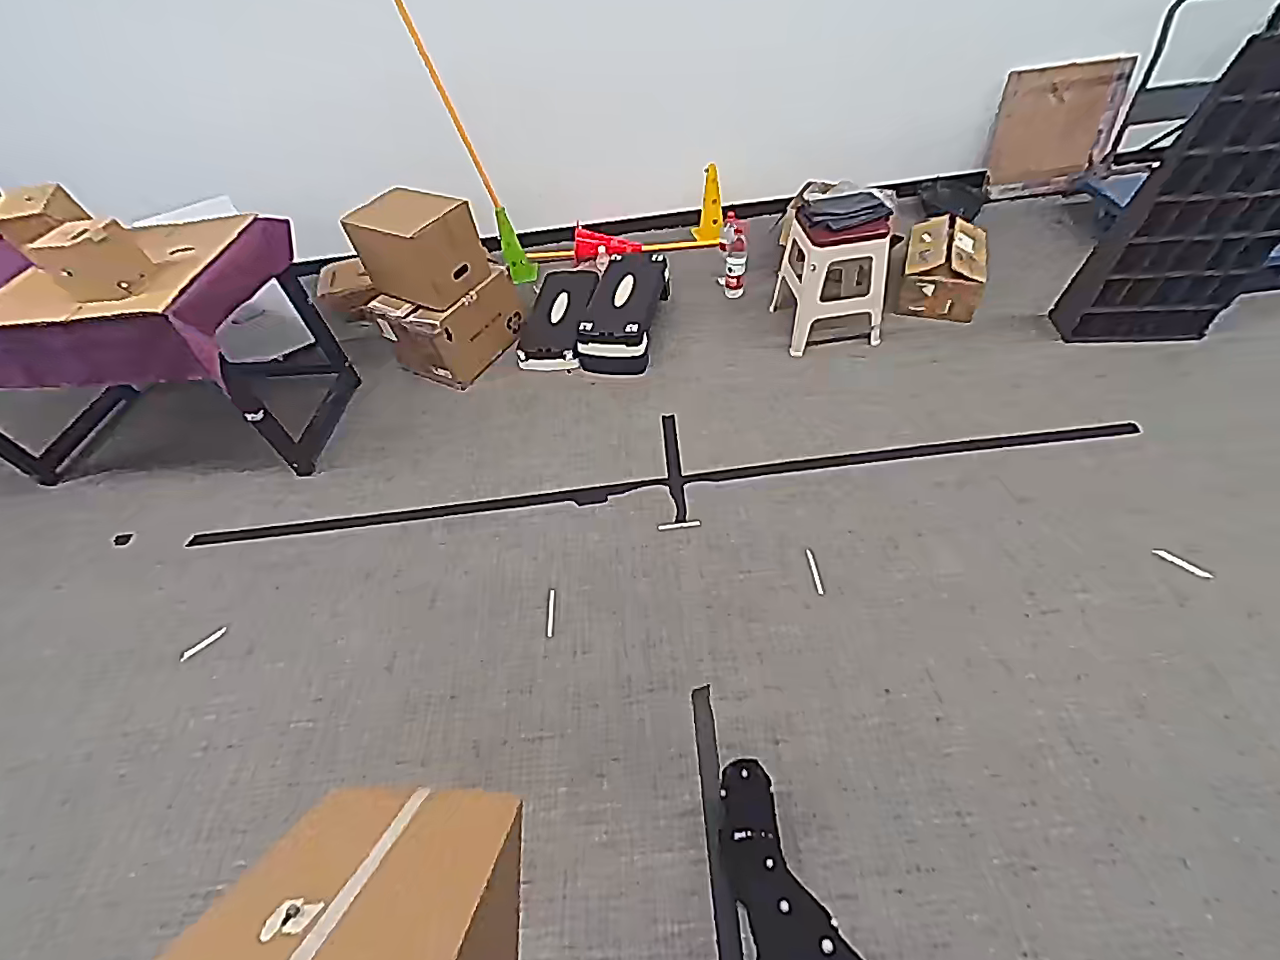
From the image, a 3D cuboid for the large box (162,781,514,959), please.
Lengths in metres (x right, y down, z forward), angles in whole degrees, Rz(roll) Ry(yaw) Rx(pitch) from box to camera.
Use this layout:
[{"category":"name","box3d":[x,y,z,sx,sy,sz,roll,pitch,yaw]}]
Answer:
[{"category":"large box","box3d":[-0.364,0.663,0.701,0.320,0.408,0.320,1,92,1]}]
